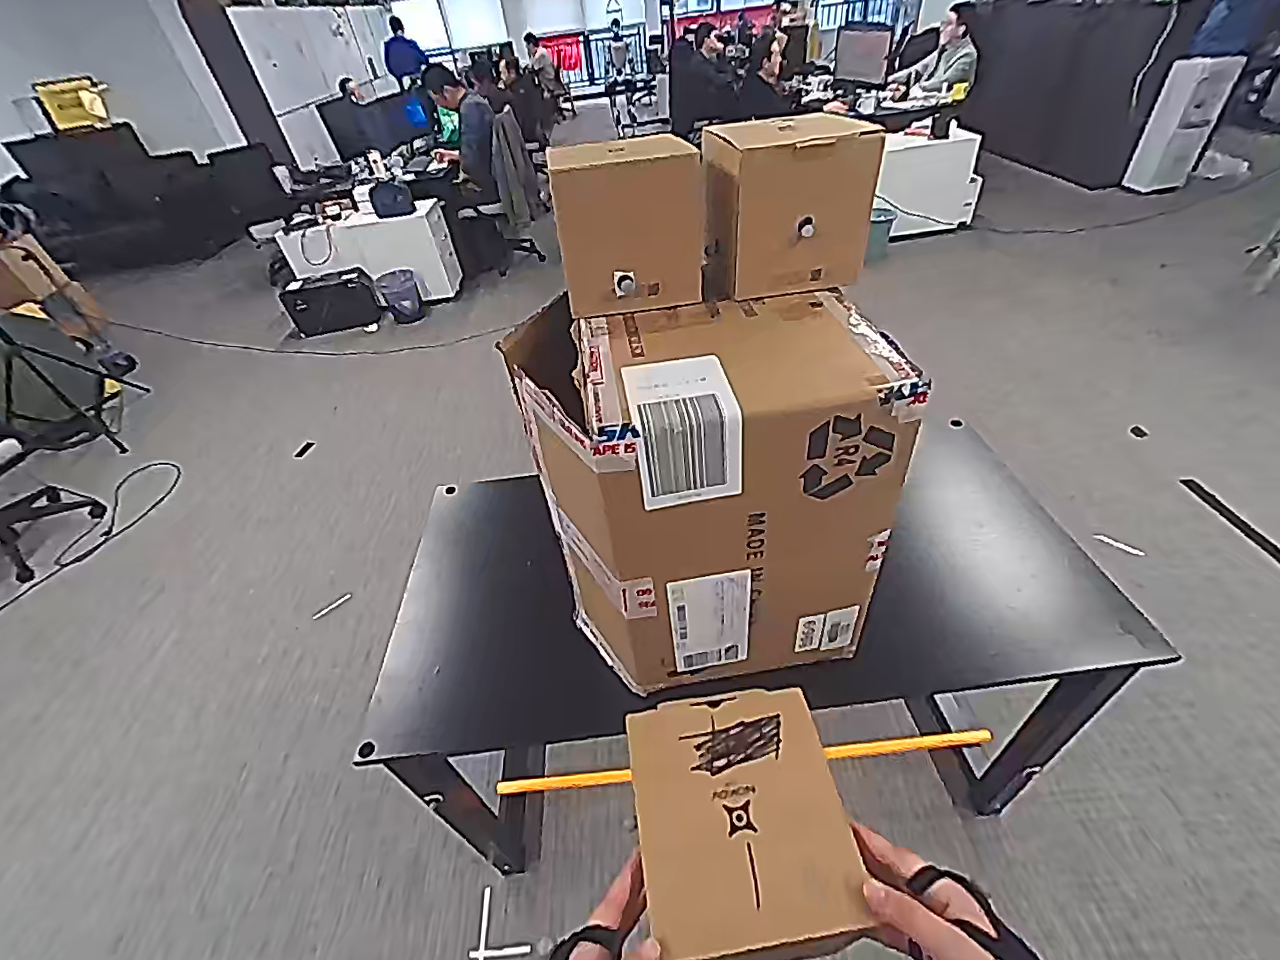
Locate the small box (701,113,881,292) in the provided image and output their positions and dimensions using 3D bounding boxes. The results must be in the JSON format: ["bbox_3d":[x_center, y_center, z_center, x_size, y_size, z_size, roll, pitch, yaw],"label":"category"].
[{"bbox_3d":[0.177,-0.350,0.693,0.168,0.176,0.179,-8,41,-4],"label":"small box"}]

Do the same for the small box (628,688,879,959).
[{"bbox_3d":[0.083,0.320,0.492,0.168,0.176,0.179,-8,44,-3],"label":"small box"}]

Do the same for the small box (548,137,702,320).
[{"bbox_3d":[-0.021,-0.323,0.690,0.168,0.176,0.179,-11,39,-4],"label":"small box"}]
